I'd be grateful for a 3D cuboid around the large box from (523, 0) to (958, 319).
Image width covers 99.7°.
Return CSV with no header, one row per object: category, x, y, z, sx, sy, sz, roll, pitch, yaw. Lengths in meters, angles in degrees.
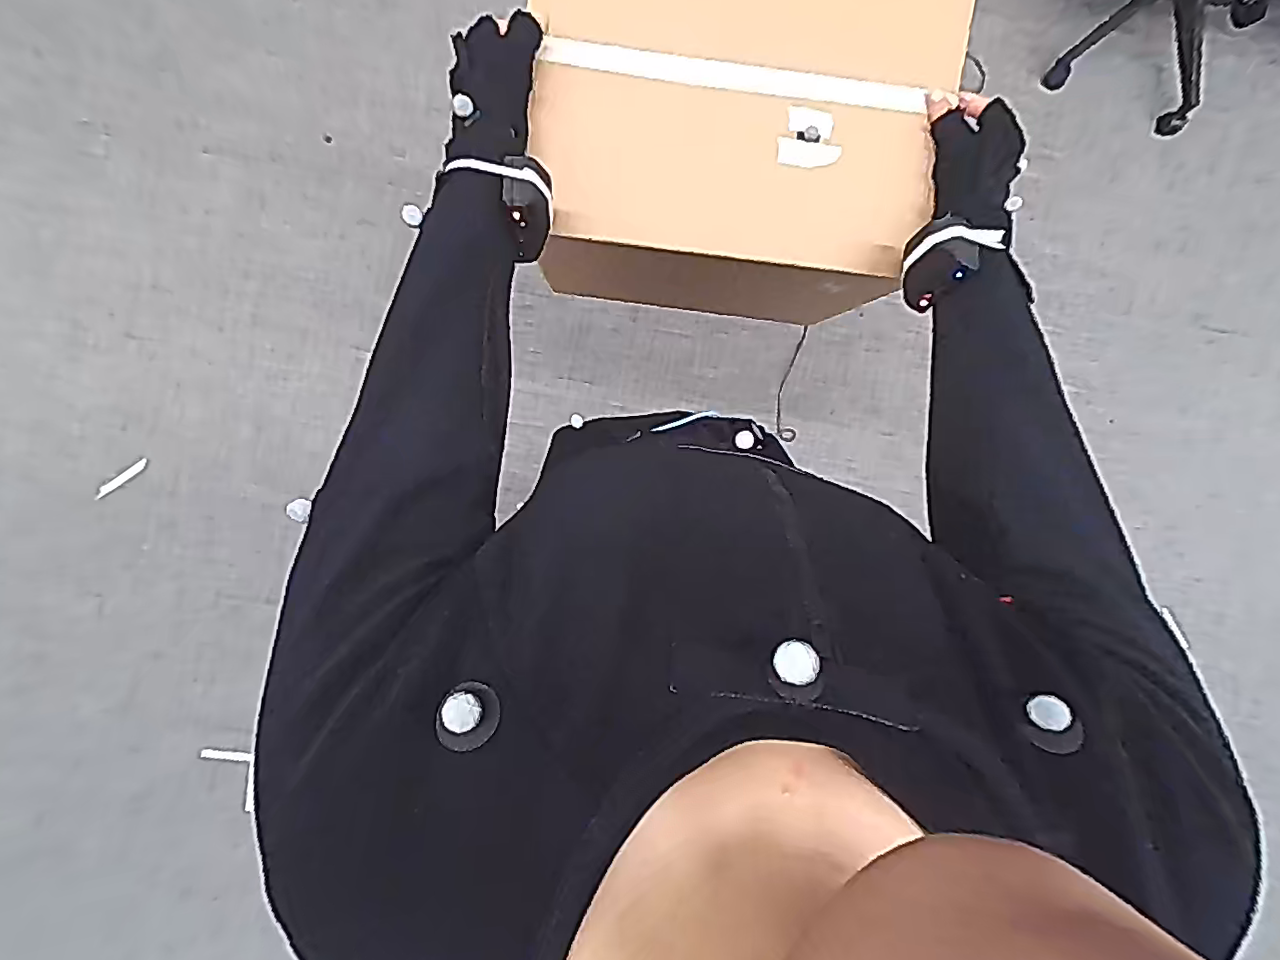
large box,0.087,-0.394,0.661,0.408,0.320,0.320,6,99,-4
